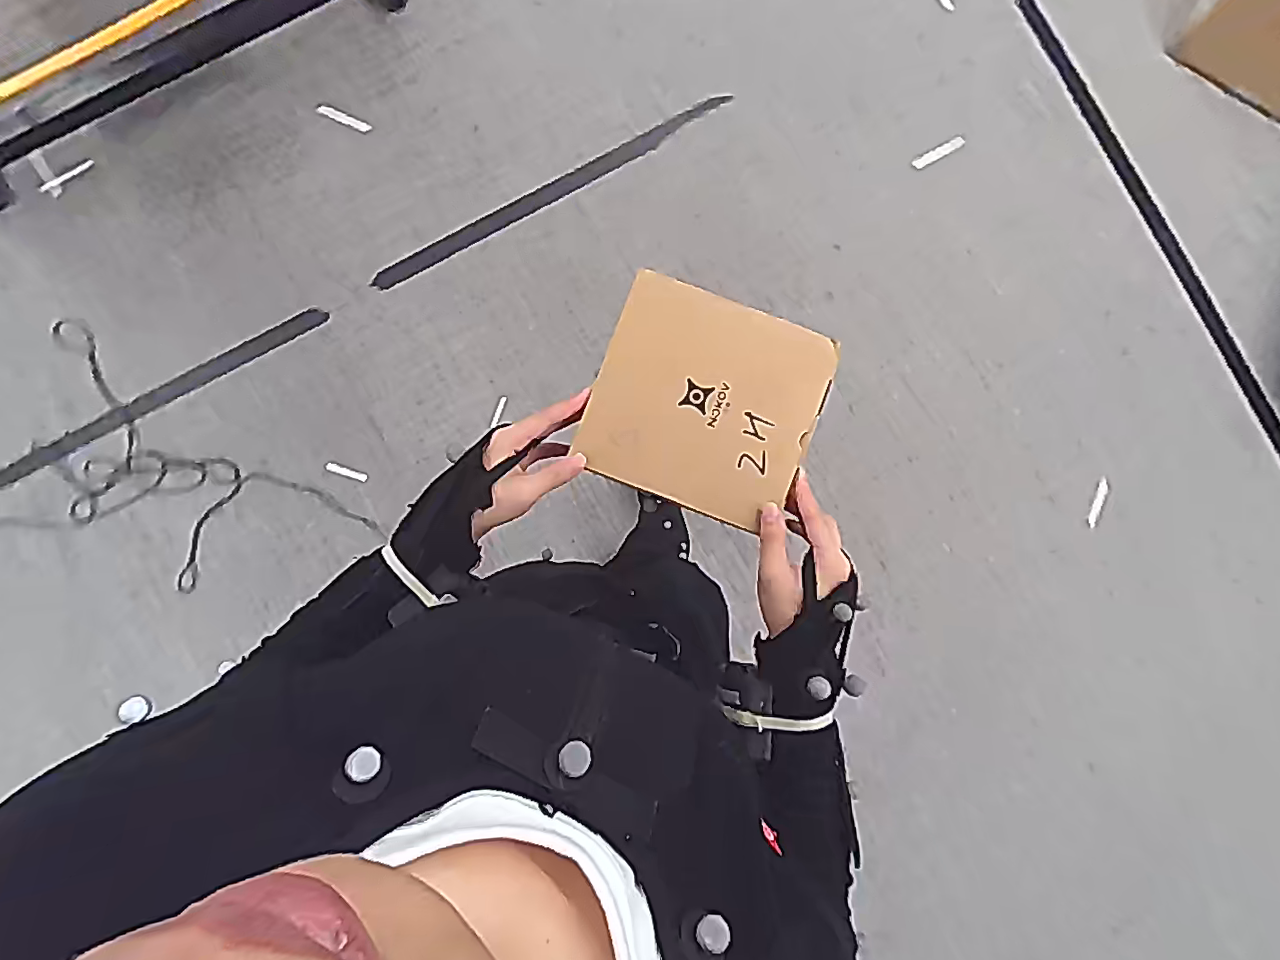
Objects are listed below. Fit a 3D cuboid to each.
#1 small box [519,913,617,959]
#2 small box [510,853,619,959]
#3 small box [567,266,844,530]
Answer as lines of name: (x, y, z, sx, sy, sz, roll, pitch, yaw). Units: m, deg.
small box: (-0.136, 0.984, 1.017, 0.179, 0.176, 0.168, -26, 90, -3)
small box: (-0.154, 0.978, 1.181, 0.168, 0.176, 0.179, -32, 89, -3)
small box: (0.051, -0.062, 0.500, 0.179, 0.176, 0.168, 20, 89, 0)
